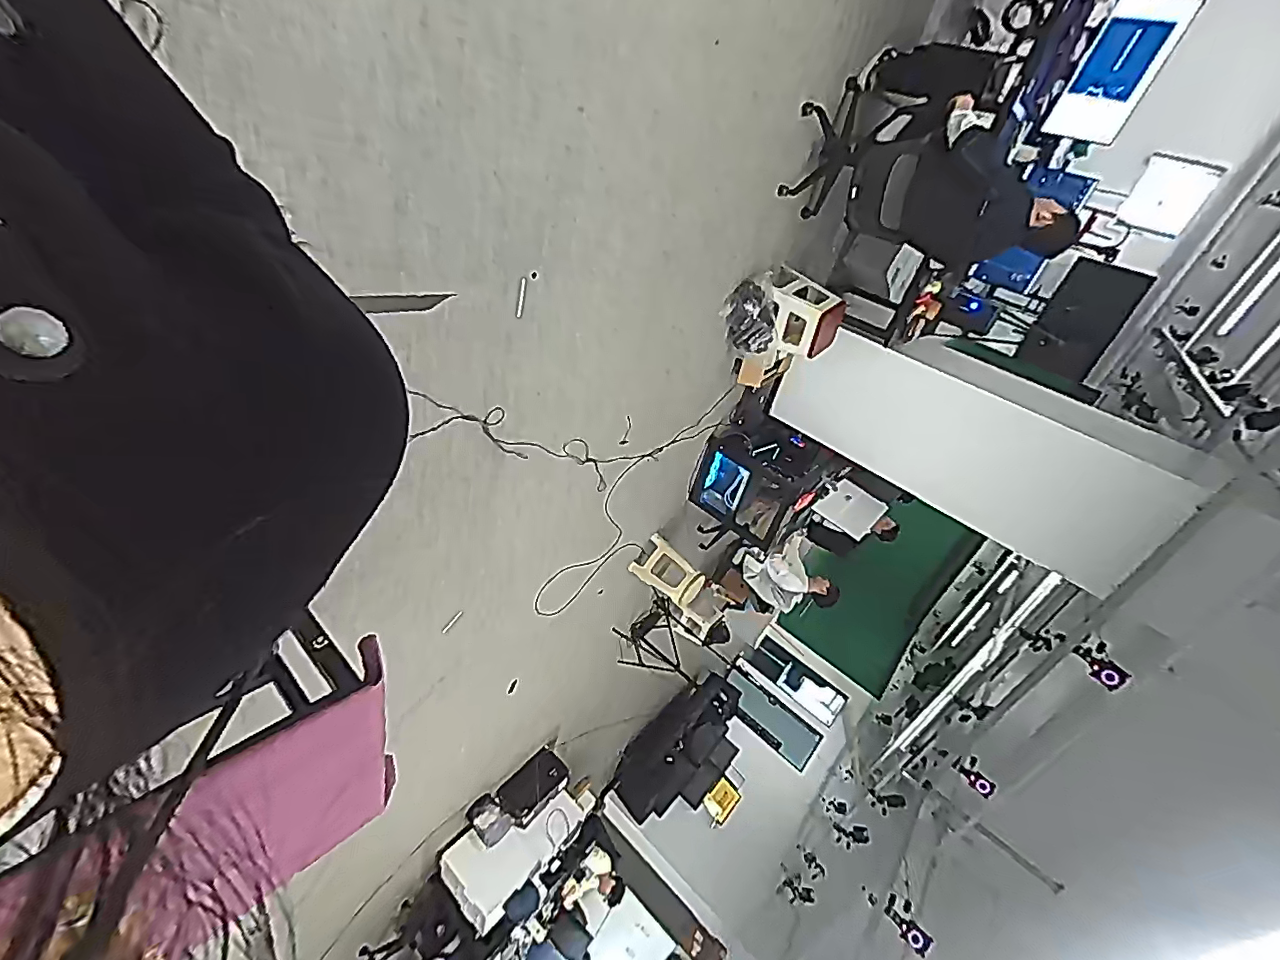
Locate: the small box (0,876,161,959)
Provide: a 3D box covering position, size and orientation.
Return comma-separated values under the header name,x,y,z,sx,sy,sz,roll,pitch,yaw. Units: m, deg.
name,x,y,z,sx,sy,sz,roll,pitch,yaw
small box,-0.942,0.829,0.916,0.168,0.176,0.179,-24,141,-50
